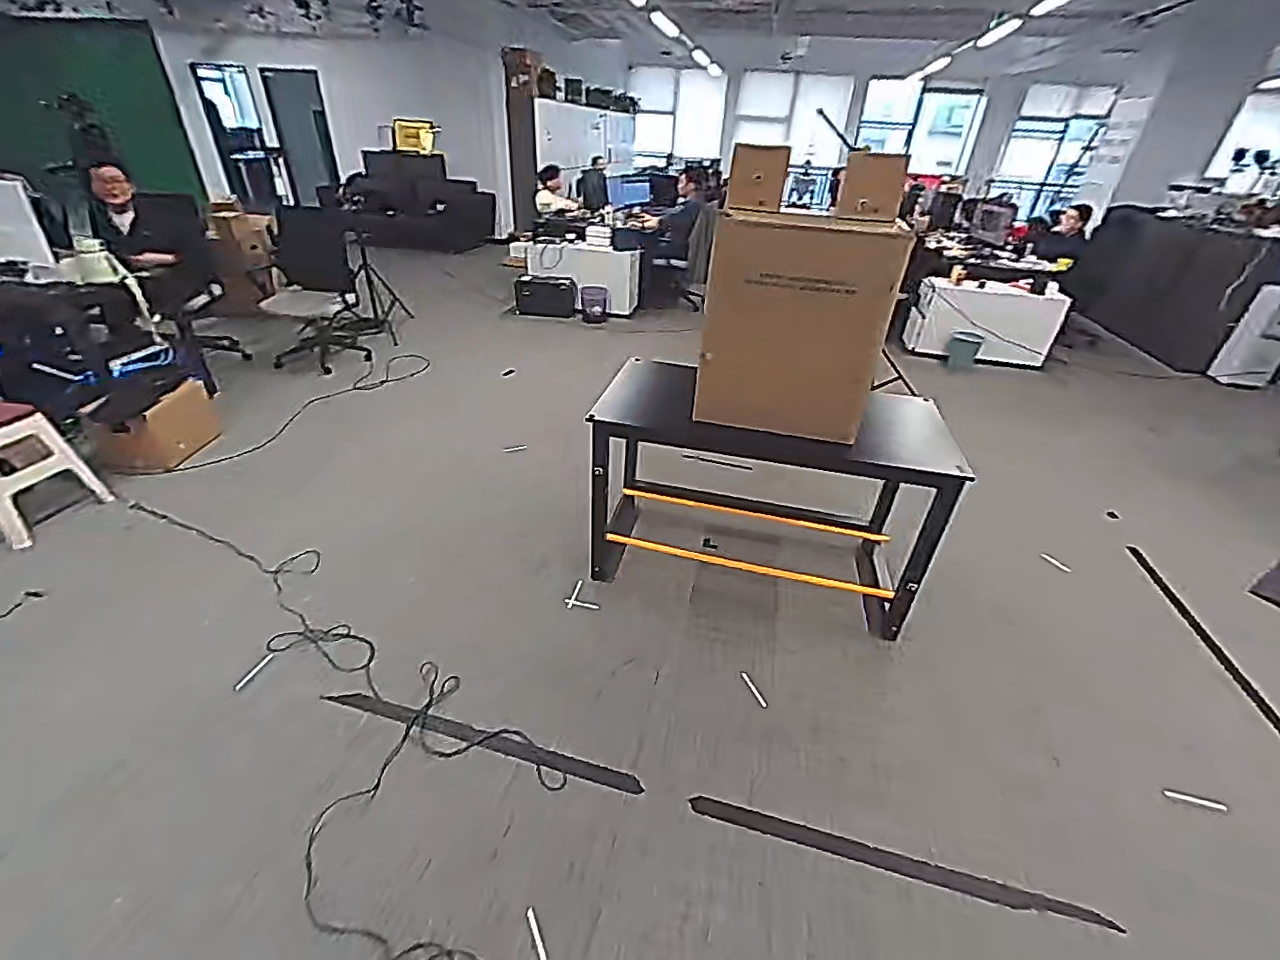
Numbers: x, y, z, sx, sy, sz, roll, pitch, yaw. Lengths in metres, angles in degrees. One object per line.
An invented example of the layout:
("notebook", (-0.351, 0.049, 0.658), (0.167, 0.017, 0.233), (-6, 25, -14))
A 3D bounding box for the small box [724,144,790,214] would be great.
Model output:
("small box", (0.348, -0.906, 1.627), (0.168, 0.176, 0.179), (8, 32, 5))

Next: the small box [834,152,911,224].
("small box", (0.664, -0.847, 1.566), (0.168, 0.176, 0.179), (9, 32, 13))
